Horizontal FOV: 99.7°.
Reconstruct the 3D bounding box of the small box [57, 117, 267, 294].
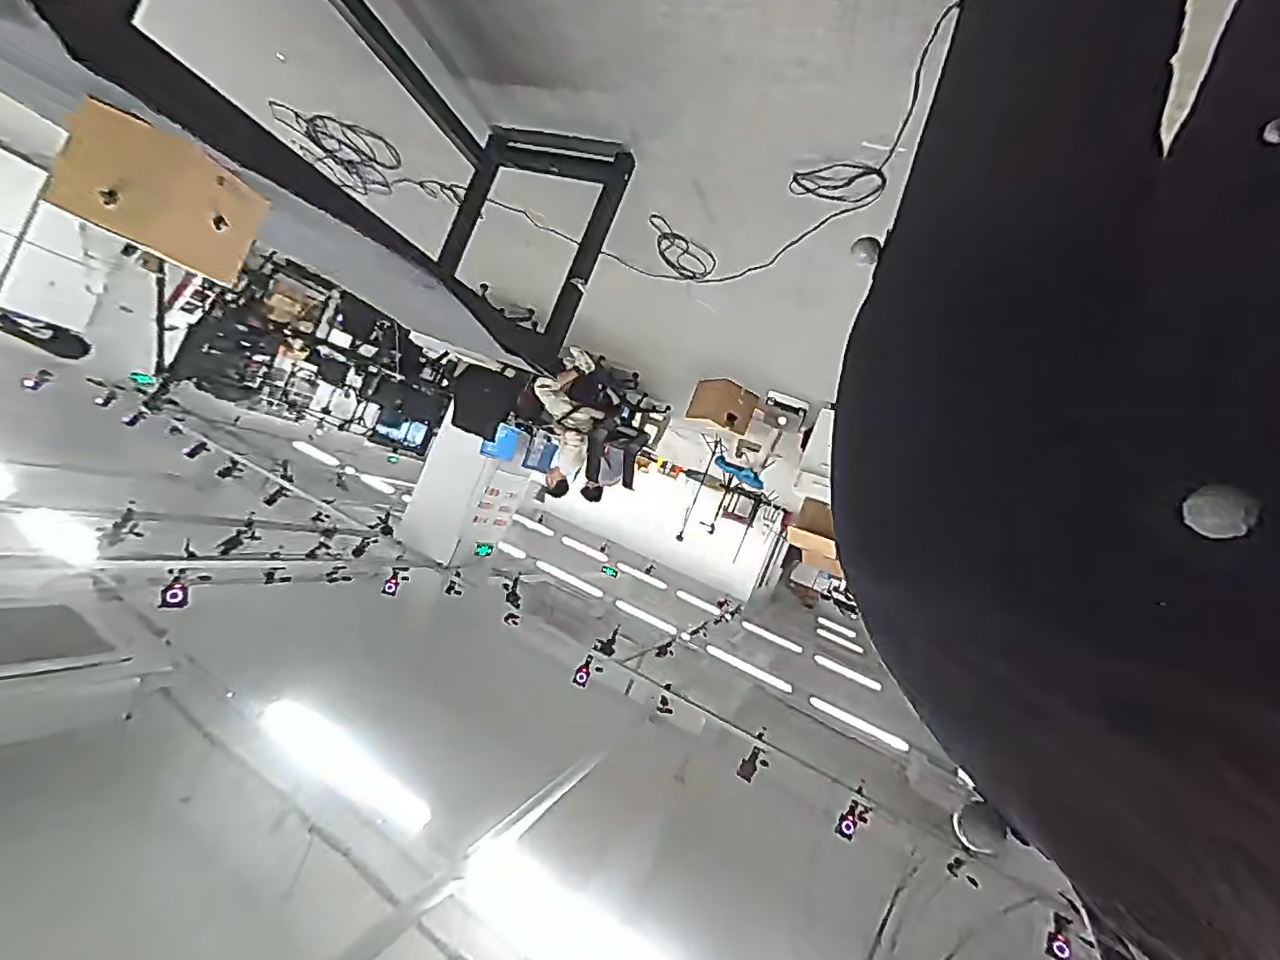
[{"bbox_3d":[-0.746,-0.435,0.870,0.179,0.176,0.168,25,179,0],"label":"small box"}]
